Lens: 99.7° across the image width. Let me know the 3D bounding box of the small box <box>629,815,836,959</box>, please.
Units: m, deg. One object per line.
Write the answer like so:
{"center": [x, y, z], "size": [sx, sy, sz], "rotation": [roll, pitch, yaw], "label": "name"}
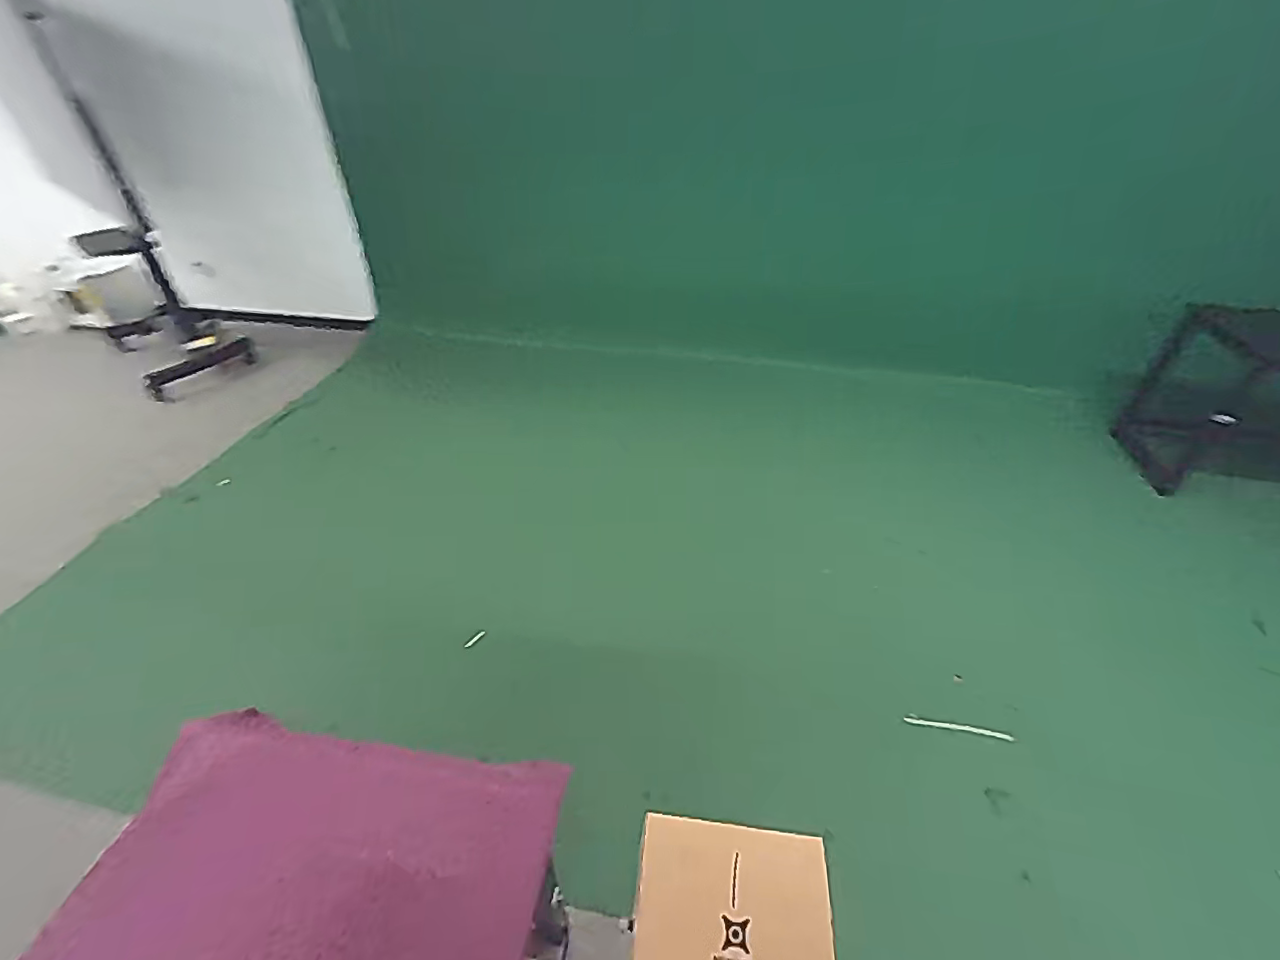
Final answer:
{"center": [0.076, 0.440, 0.500], "size": [0.168, 0.176, 0.179], "rotation": [7, 47, 4], "label": "small box"}
